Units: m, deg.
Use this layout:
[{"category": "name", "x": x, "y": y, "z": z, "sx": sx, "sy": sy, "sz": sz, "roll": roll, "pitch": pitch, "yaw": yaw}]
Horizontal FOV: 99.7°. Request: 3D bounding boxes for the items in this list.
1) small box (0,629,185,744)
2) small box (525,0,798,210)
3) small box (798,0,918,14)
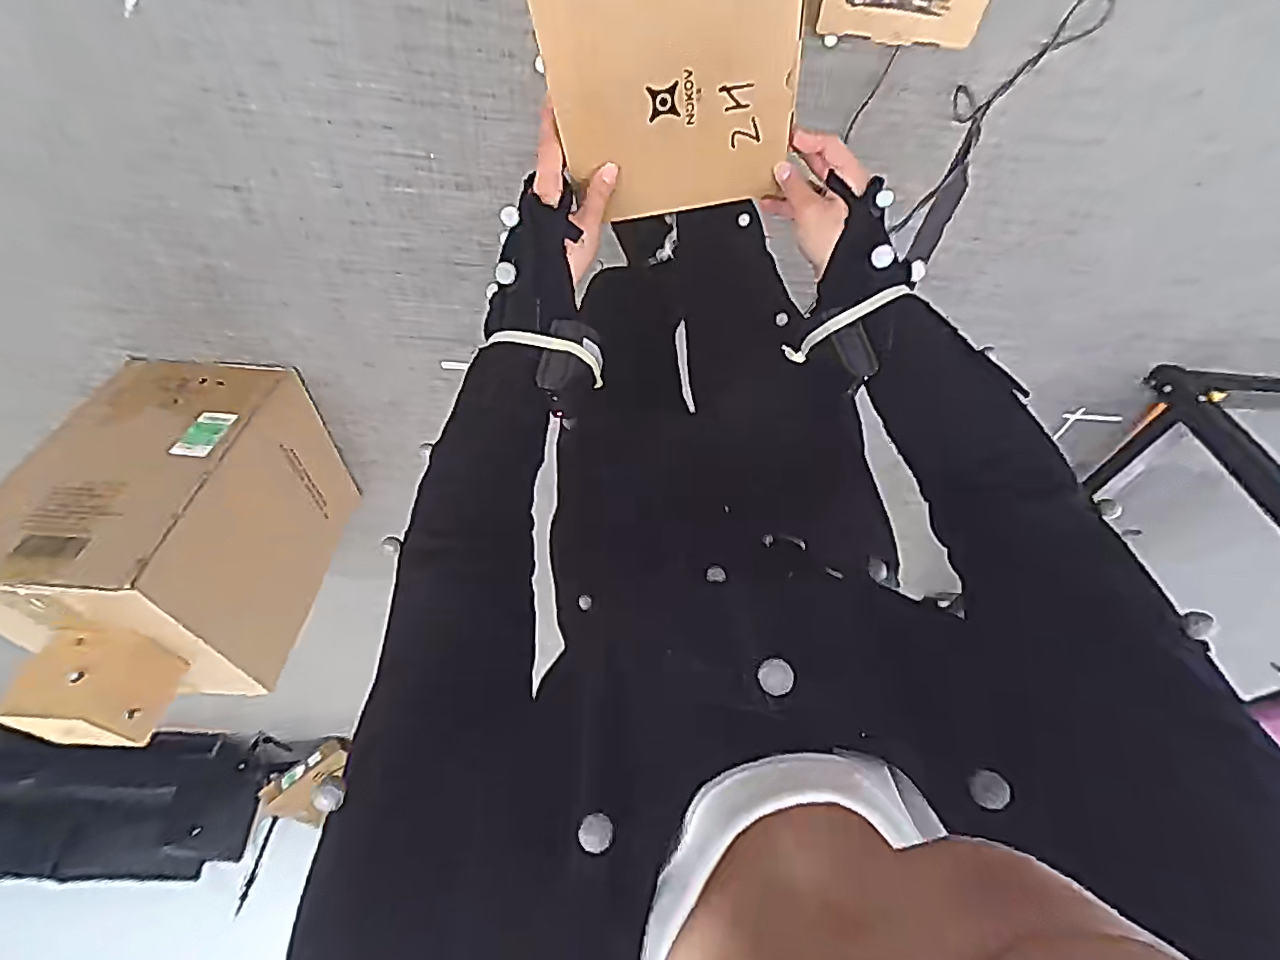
[{"category": "small box", "x": -1.059, "y": 0.403, "z": 1.056, "sx": 0.168, "sy": 0.176, "sz": 0.179, "roll": 3, "pitch": 140, "yaw": -2}, {"category": "small box", "x": 0.014, "y": -0.349, "z": 0.426, "sx": 0.179, "sy": 0.176, "sz": 0.168, "roll": -8, "pitch": 149, "yaw": 3}, {"category": "small box", "x": 0.268, "y": -0.704, "z": 0.656, "sx": 0.168, "sy": 0.176, "sz": 0.179, "roll": 4, "pitch": 141, "yaw": -2}]
